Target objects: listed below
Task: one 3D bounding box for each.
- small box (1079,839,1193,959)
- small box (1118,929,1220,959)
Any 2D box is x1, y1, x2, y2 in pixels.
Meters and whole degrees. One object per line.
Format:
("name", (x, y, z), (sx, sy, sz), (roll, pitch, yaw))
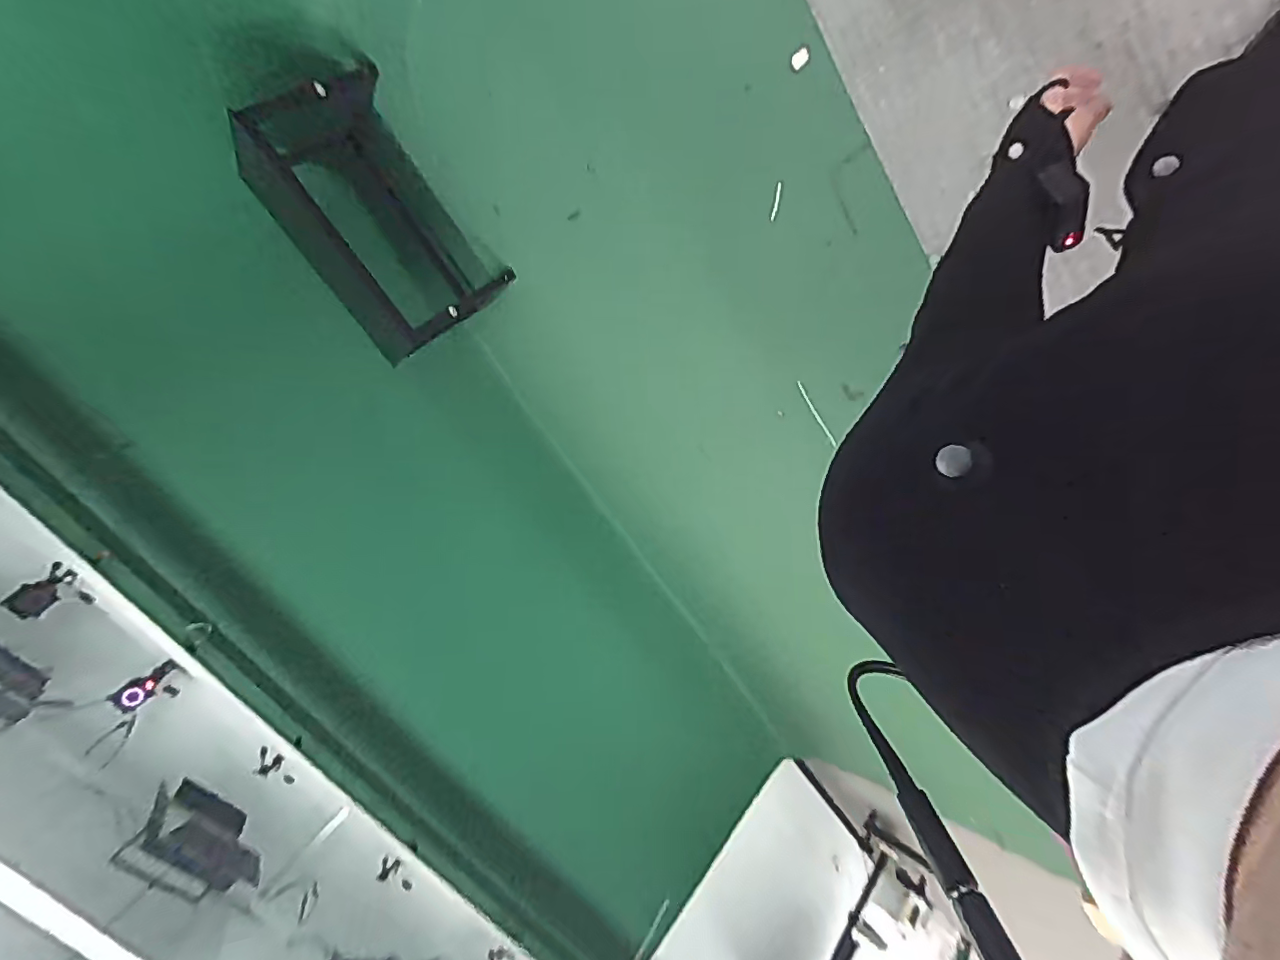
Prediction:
("small box", (1.278, 1.083, 1.390), (0.179, 0.176, 0.168), (55, 152, -16))
("small box", (1.459, 1.328, 1.479), (0.179, 0.176, 0.168), (54, 153, -17))
